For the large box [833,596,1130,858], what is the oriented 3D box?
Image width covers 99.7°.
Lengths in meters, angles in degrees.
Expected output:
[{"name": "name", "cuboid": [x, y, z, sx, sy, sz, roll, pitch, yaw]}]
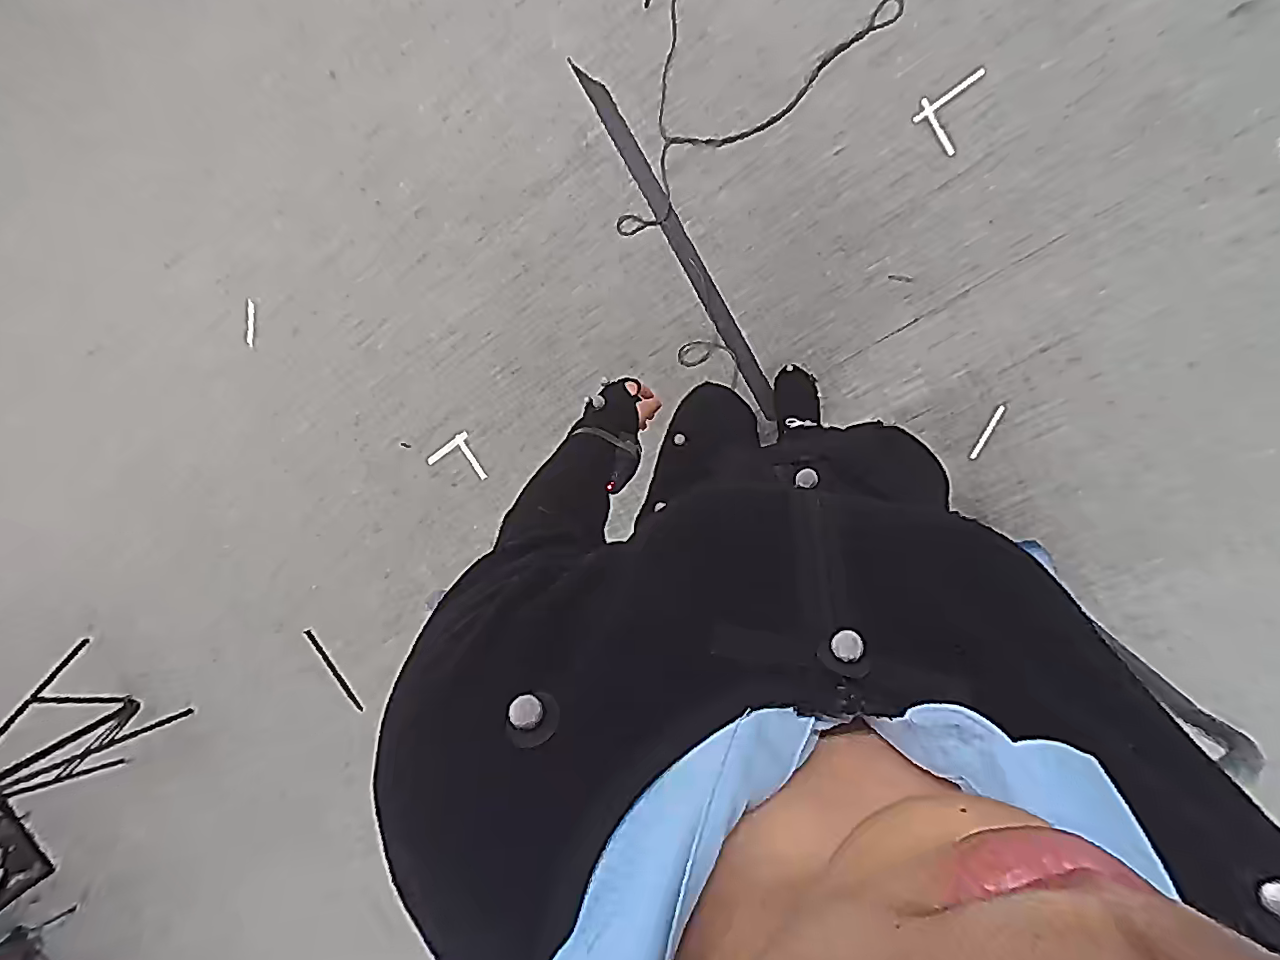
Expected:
[{"name": "large box", "cuboid": [0.681, 0.513, 1.163, 0.408, 0.320, 0.320, -30, 93, 20]}]
